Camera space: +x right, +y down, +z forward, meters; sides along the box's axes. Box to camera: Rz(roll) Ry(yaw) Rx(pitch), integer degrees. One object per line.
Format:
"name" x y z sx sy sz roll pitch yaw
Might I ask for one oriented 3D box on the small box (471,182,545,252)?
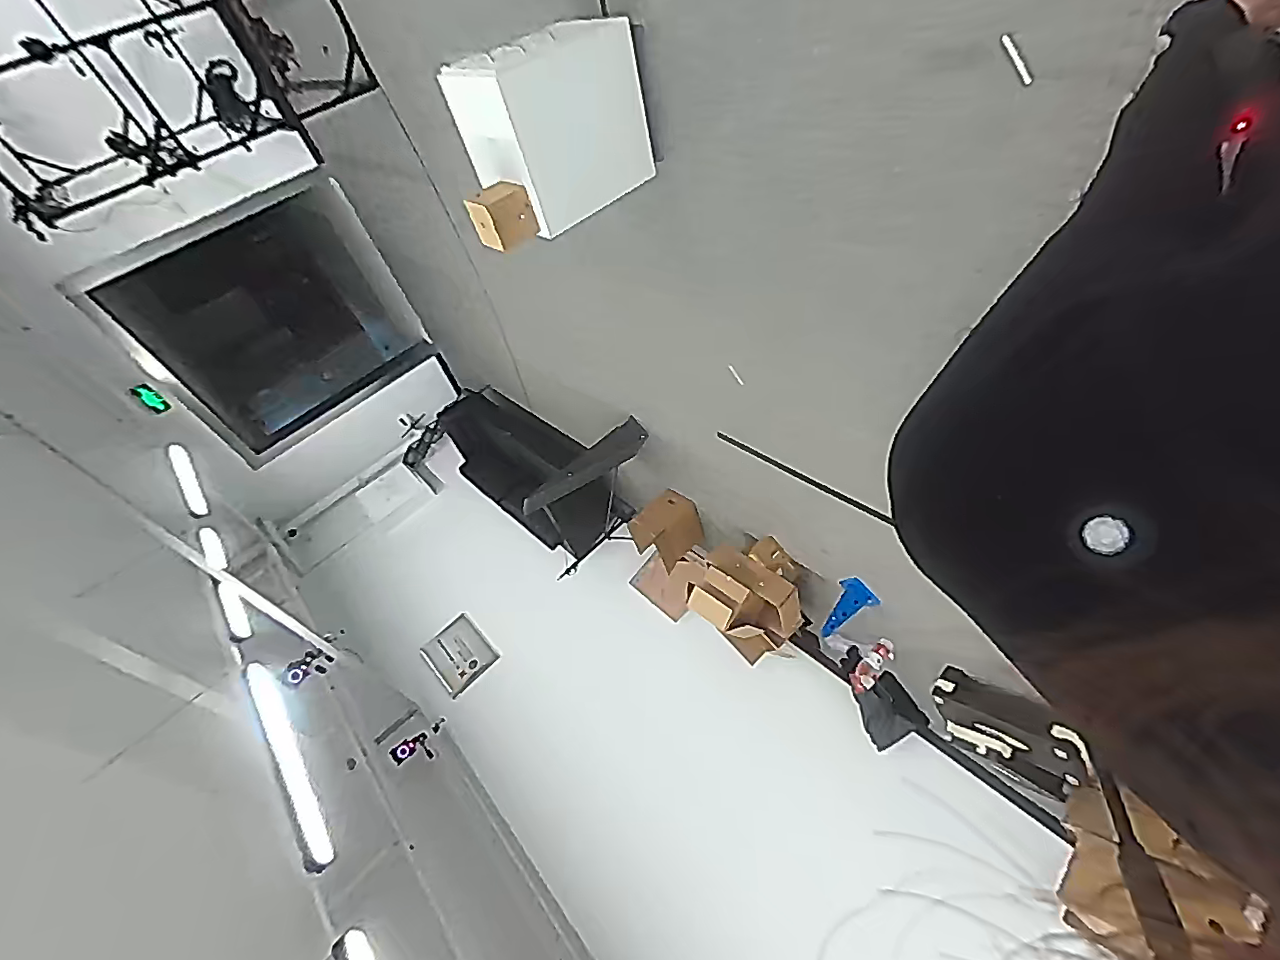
"small box" -0.477 -0.966 1.975 0.179 0.176 0.168 34 156 38
